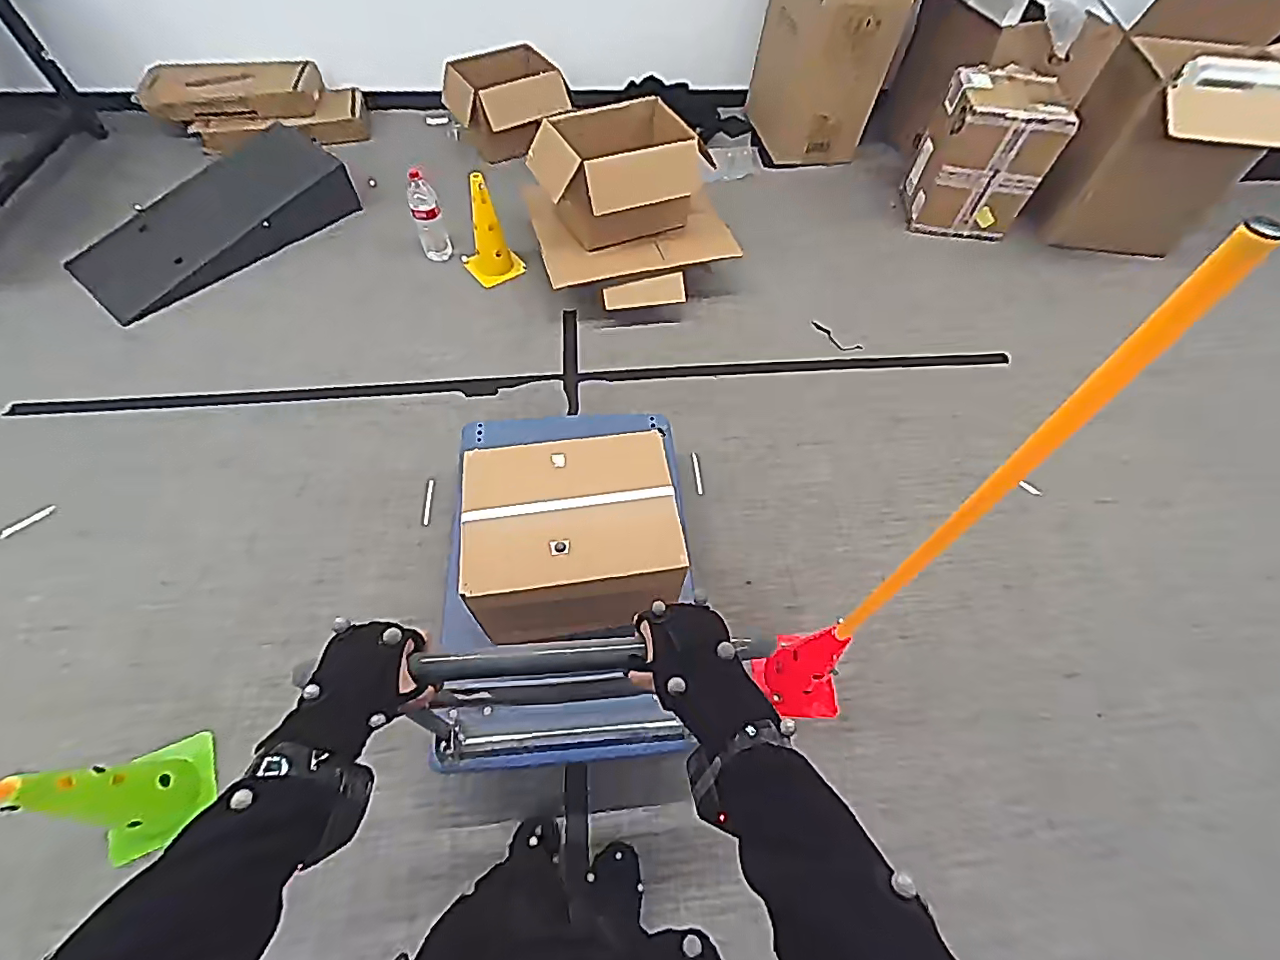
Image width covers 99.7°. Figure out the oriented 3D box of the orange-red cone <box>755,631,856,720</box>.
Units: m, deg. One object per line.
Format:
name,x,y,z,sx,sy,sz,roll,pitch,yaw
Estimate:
orange-red cone,0.395,0.400,1.197,0.199,0.360,0.198,3,59,-2
